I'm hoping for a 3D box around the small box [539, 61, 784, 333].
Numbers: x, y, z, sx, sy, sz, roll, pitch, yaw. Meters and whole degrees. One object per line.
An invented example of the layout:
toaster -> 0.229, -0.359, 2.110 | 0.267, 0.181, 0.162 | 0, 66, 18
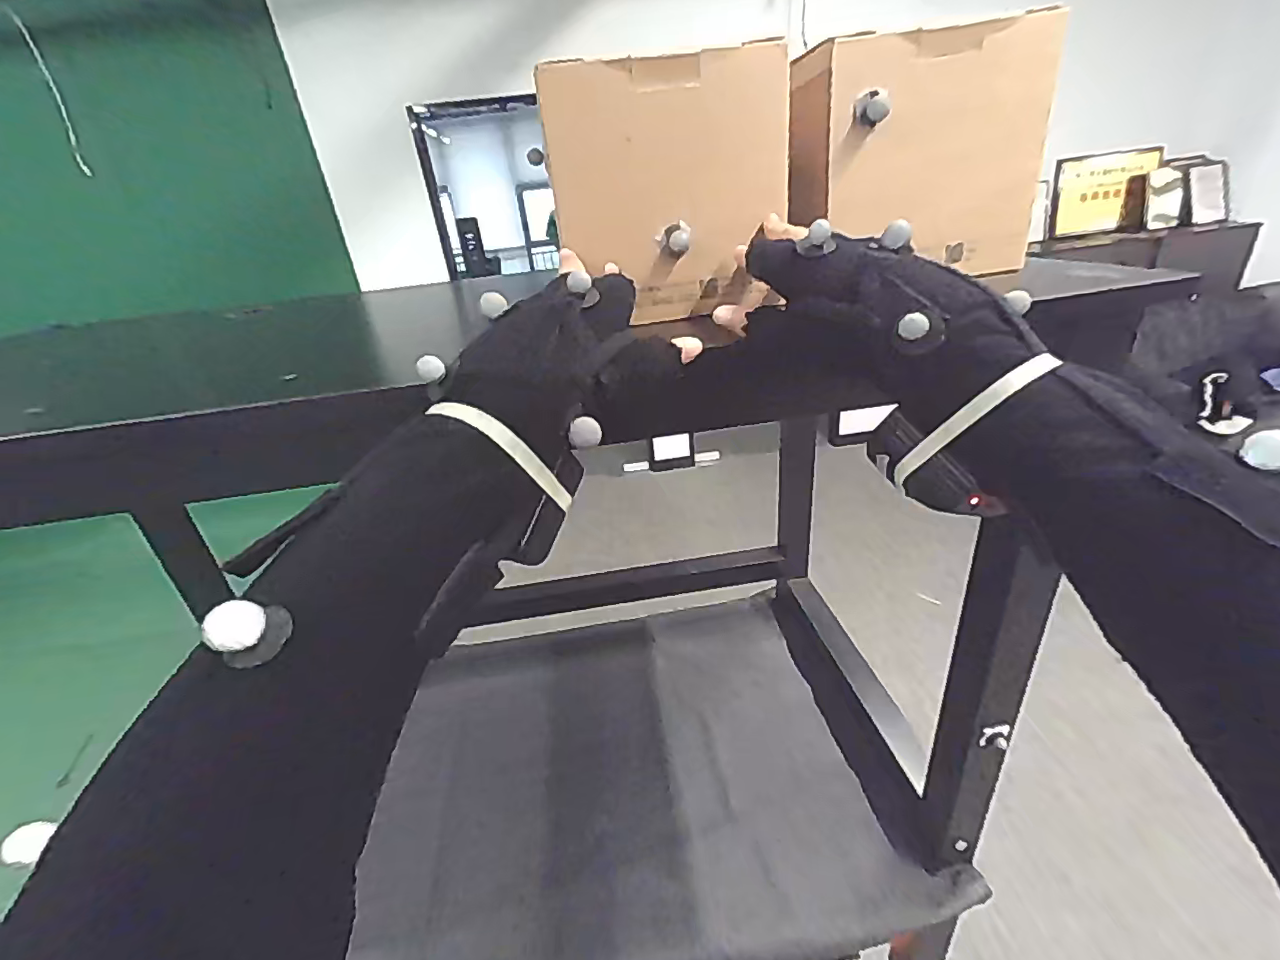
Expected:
small box -> 0.012, -0.229, 0.464 | 0.168, 0.176, 0.179 | -9, 27, -4
